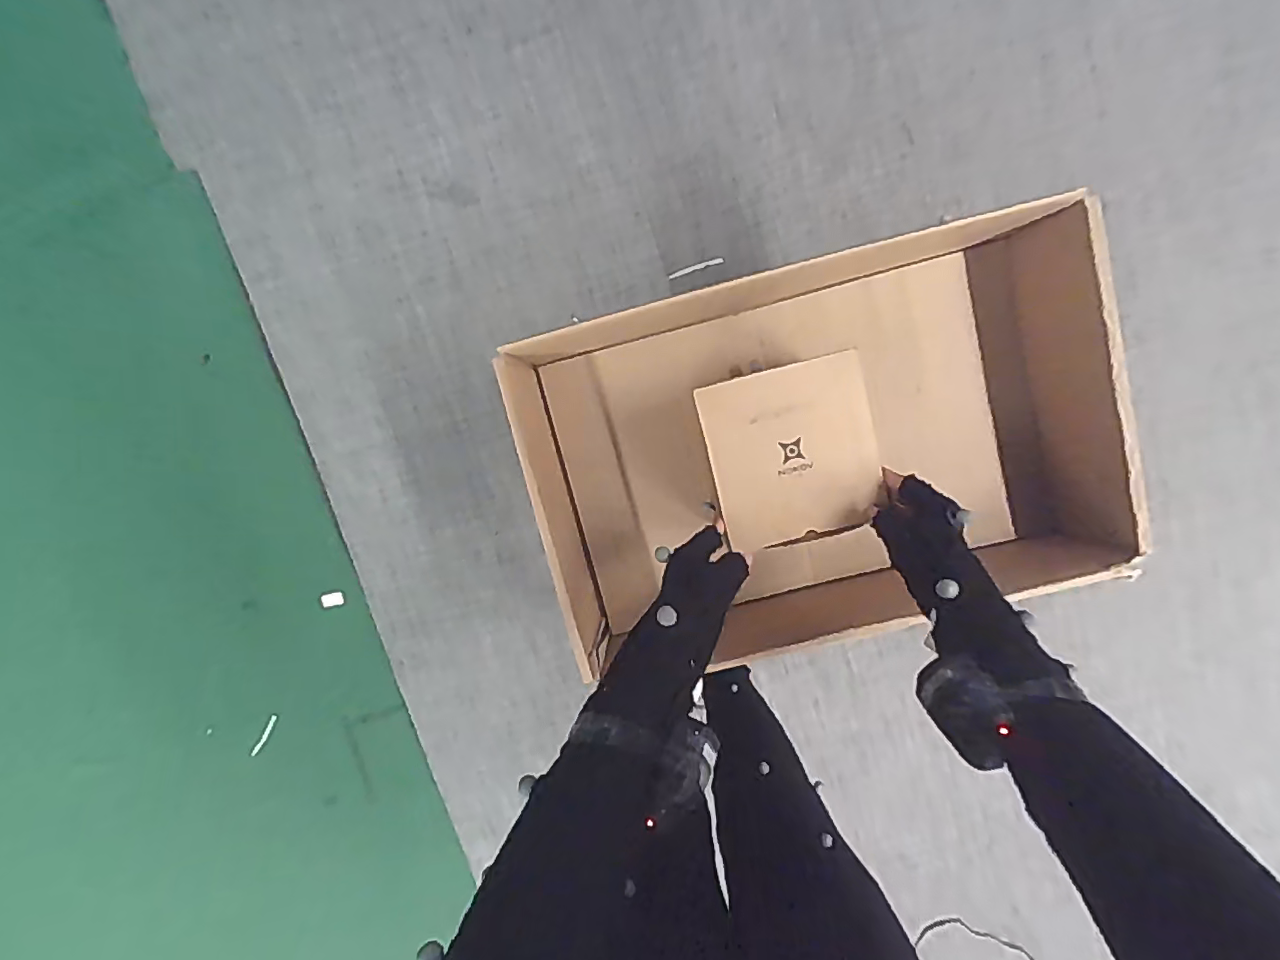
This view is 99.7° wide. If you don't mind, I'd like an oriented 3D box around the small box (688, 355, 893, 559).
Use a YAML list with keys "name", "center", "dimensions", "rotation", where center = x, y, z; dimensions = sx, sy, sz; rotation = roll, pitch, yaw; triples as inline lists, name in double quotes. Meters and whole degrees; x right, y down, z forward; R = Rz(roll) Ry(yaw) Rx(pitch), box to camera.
- name: "small box"
  center: [0.157, -0.029, 0.618]
  dimensions: [0.168, 0.176, 0.179]
  rotation: [-15, 95, 2]
